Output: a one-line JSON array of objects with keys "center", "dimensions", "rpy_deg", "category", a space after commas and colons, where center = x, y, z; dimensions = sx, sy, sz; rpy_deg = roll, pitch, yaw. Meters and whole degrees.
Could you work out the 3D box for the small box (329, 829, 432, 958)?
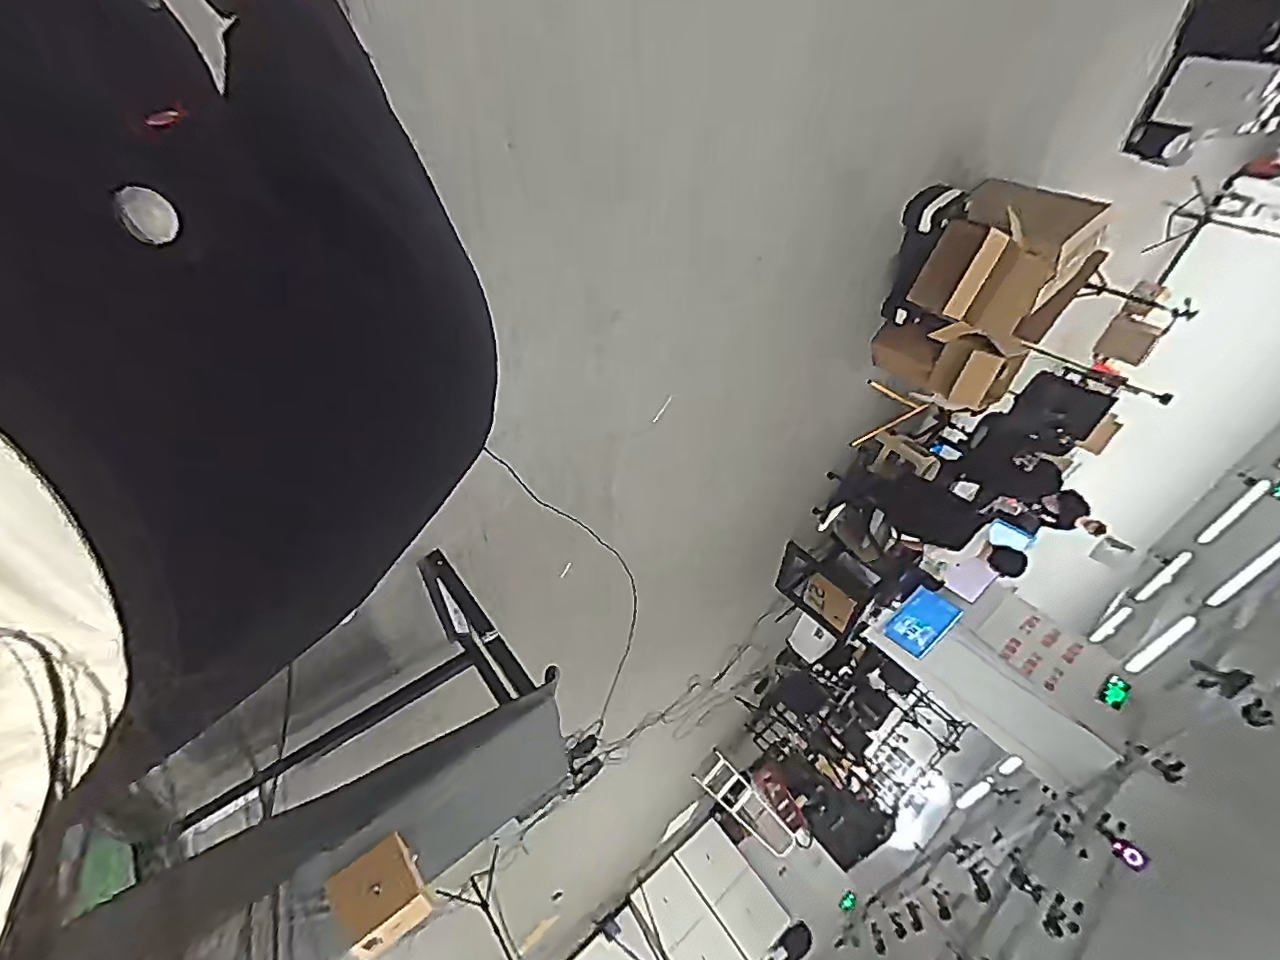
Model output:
[{"center": [-0.652, 1.029, 1.353], "dimensions": [0.179, 0.176, 0.168], "rpy_deg": [-27, 141, -32], "category": "small box"}]
